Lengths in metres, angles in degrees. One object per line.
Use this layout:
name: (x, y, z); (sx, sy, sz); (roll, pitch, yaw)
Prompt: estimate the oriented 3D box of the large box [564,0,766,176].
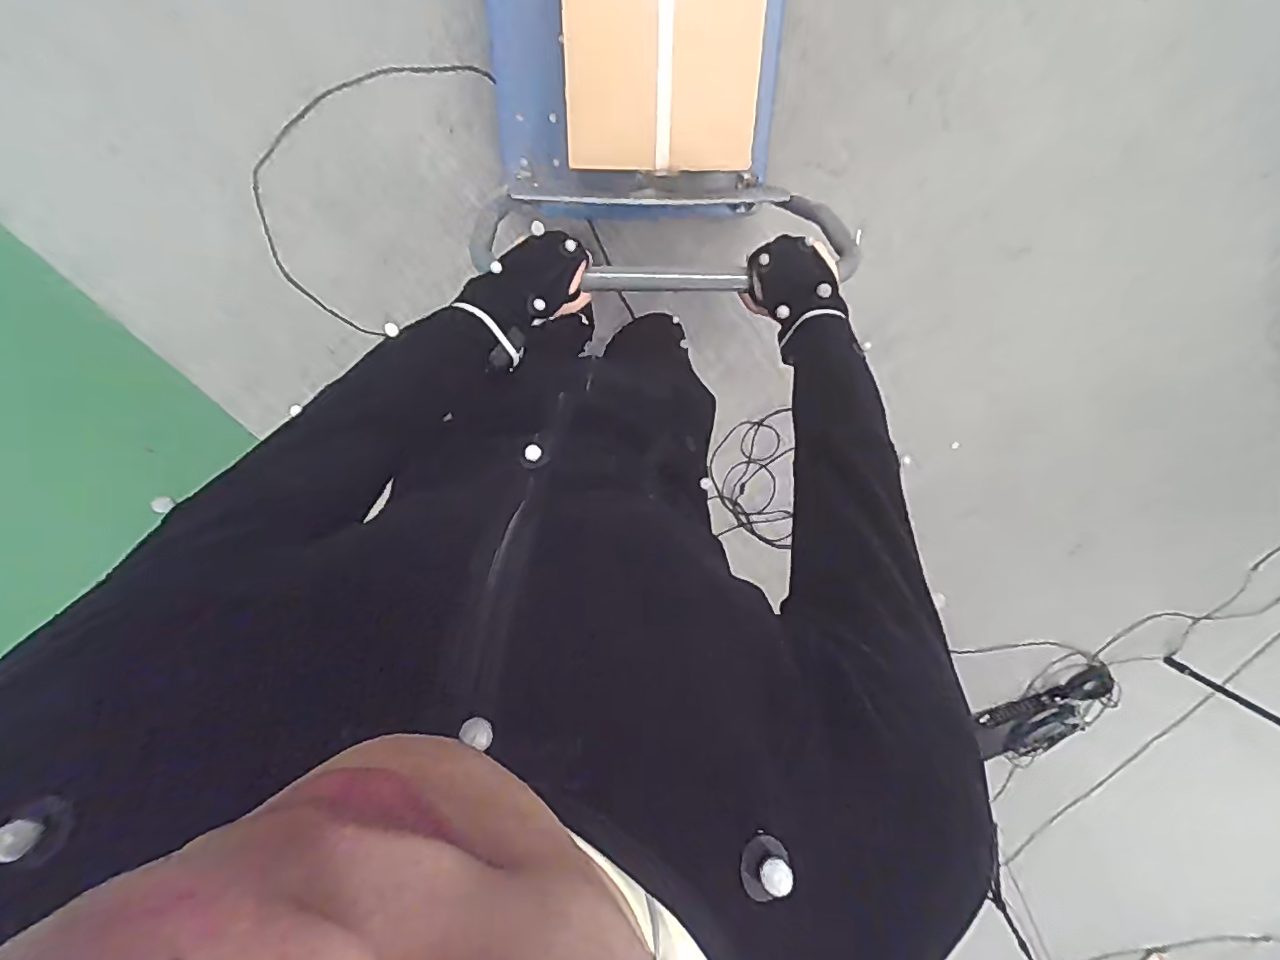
large box: (0.033, -0.776, 0.962); (0.320, 0.320, 0.408); (-1, 119, -4)
